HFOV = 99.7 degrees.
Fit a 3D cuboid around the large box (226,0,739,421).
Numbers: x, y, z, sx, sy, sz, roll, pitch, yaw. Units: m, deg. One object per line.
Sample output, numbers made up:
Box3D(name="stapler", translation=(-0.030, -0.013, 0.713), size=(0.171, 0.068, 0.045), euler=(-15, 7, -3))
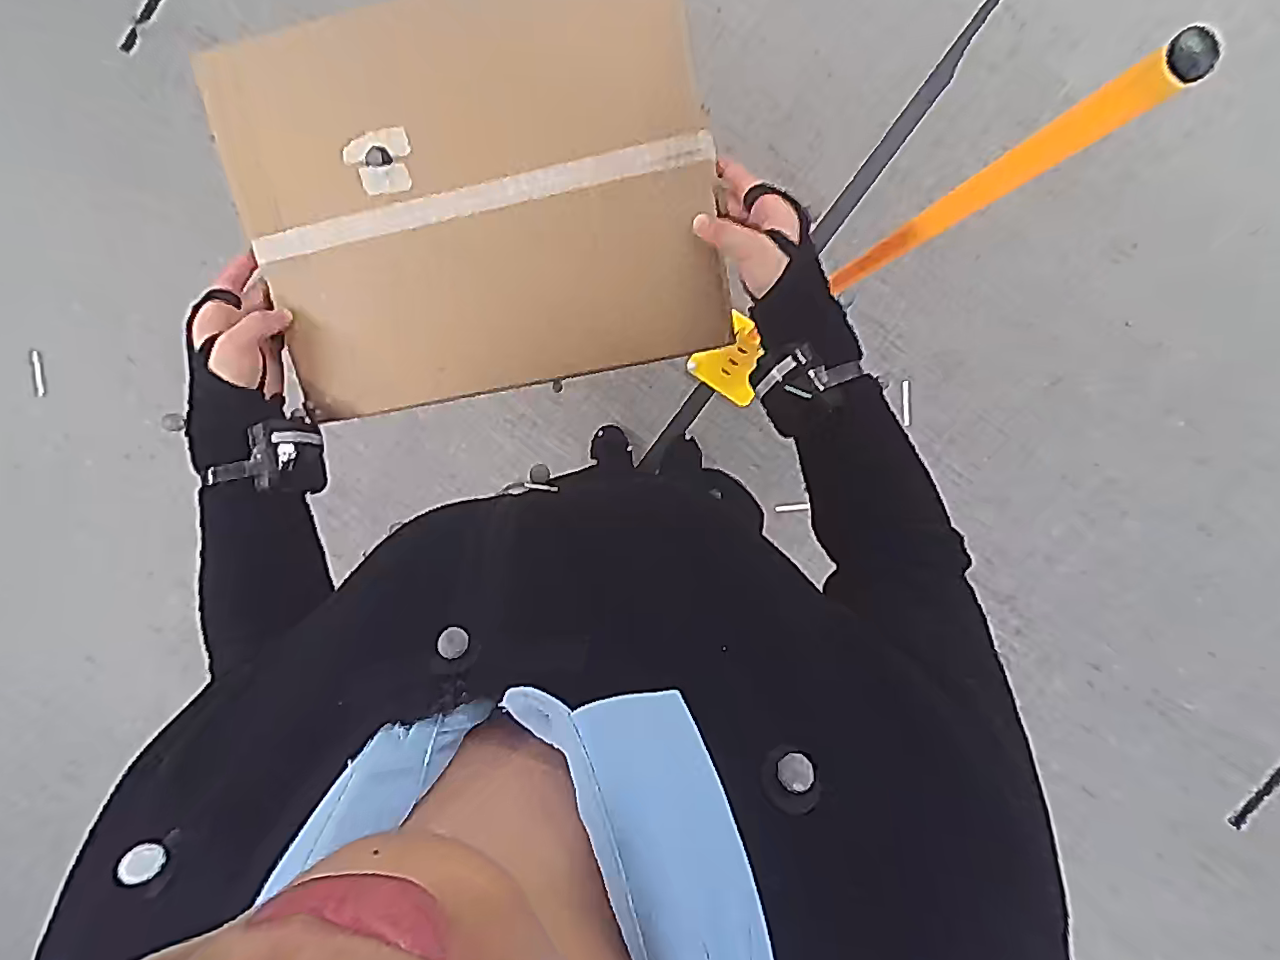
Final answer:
Box3D(name="large box", translation=(-0.123, -0.274, 0.617), size=(0.408, 0.320, 0.320), euler=(-10, 102, 7))
